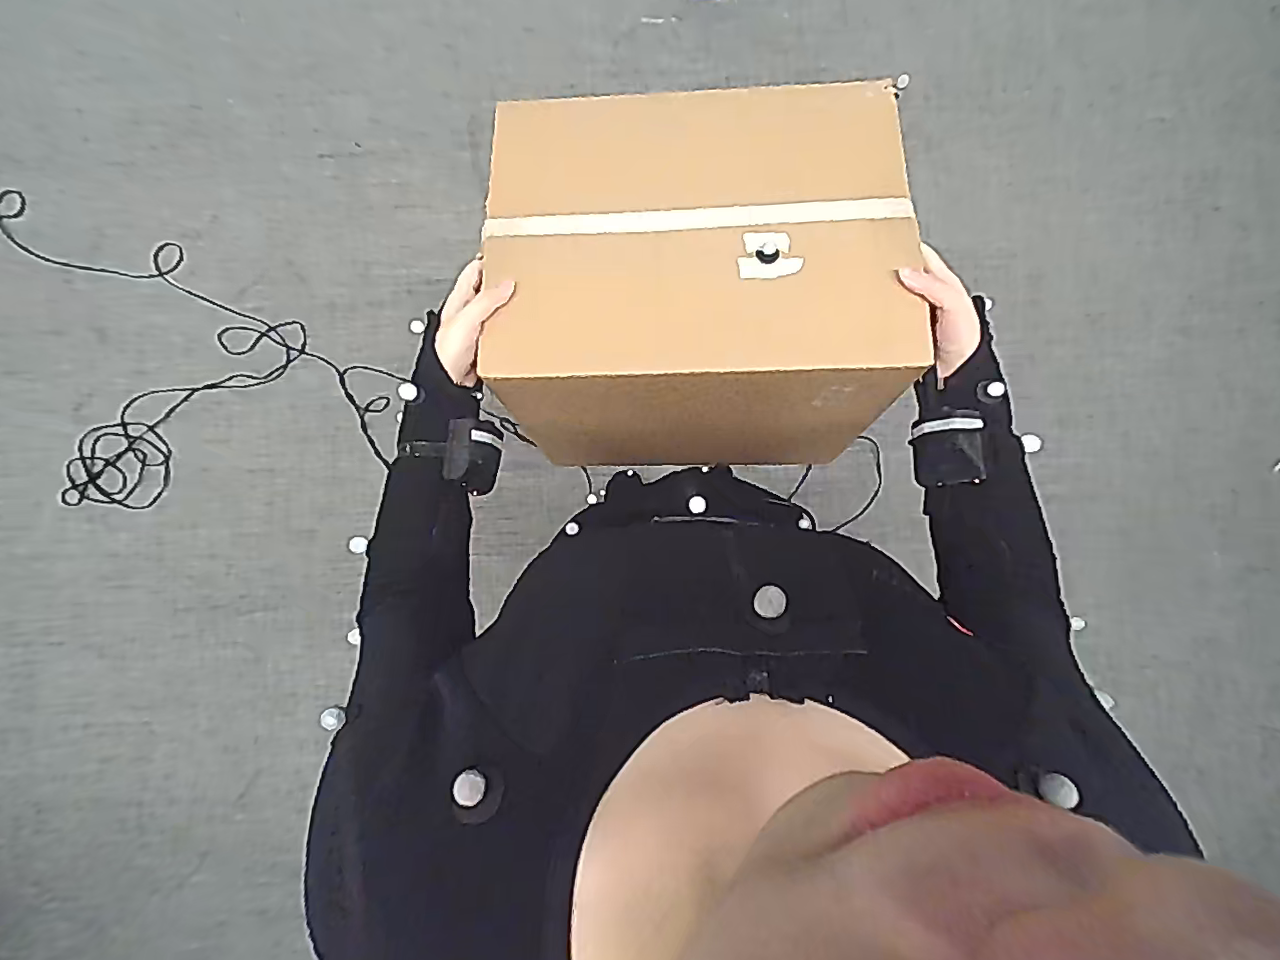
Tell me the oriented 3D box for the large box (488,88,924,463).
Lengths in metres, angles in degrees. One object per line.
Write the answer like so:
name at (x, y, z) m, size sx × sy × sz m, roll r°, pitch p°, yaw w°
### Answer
large box at (0.058, -0.213, 0.667) m, size 0.408 × 0.320 × 0.320 m, roll -1°, pitch 77°, yaw 2°
